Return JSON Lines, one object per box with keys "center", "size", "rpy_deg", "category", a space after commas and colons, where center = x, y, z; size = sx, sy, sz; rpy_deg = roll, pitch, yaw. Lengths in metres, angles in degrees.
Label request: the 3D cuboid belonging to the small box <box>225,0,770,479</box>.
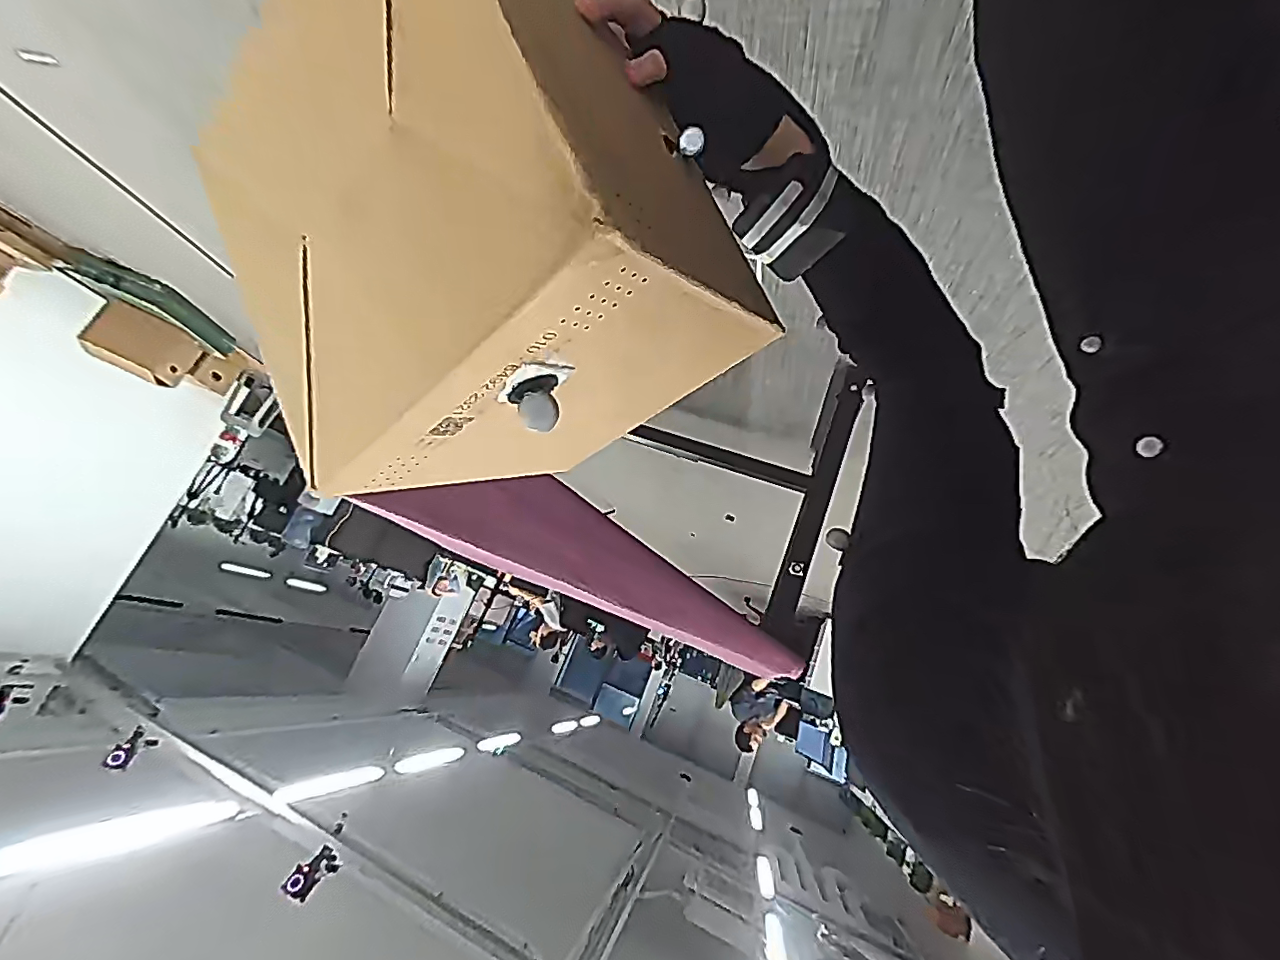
{"center": [-0.067, -0.114, 0.265], "size": [0.168, 0.179, 0.176], "rpy_deg": [-30, 168, 32], "category": "small box"}
